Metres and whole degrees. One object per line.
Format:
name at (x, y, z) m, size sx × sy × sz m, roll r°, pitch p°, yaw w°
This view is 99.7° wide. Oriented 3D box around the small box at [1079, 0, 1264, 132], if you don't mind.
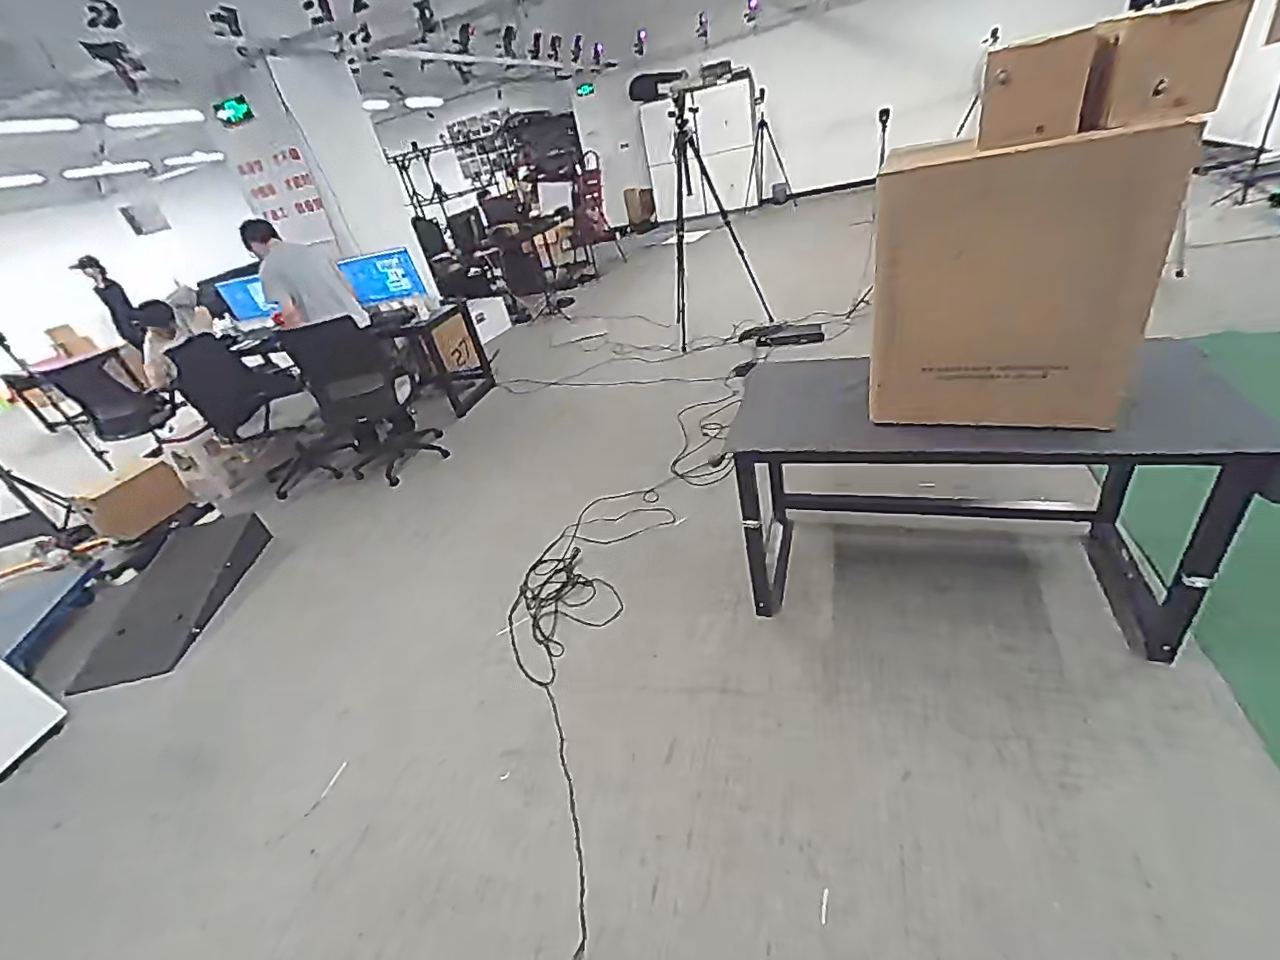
small box at (0.959, -0.758, 1.002) m, size 0.168 × 0.176 × 0.179 m, roll 2°, pitch 38°, yaw 17°
